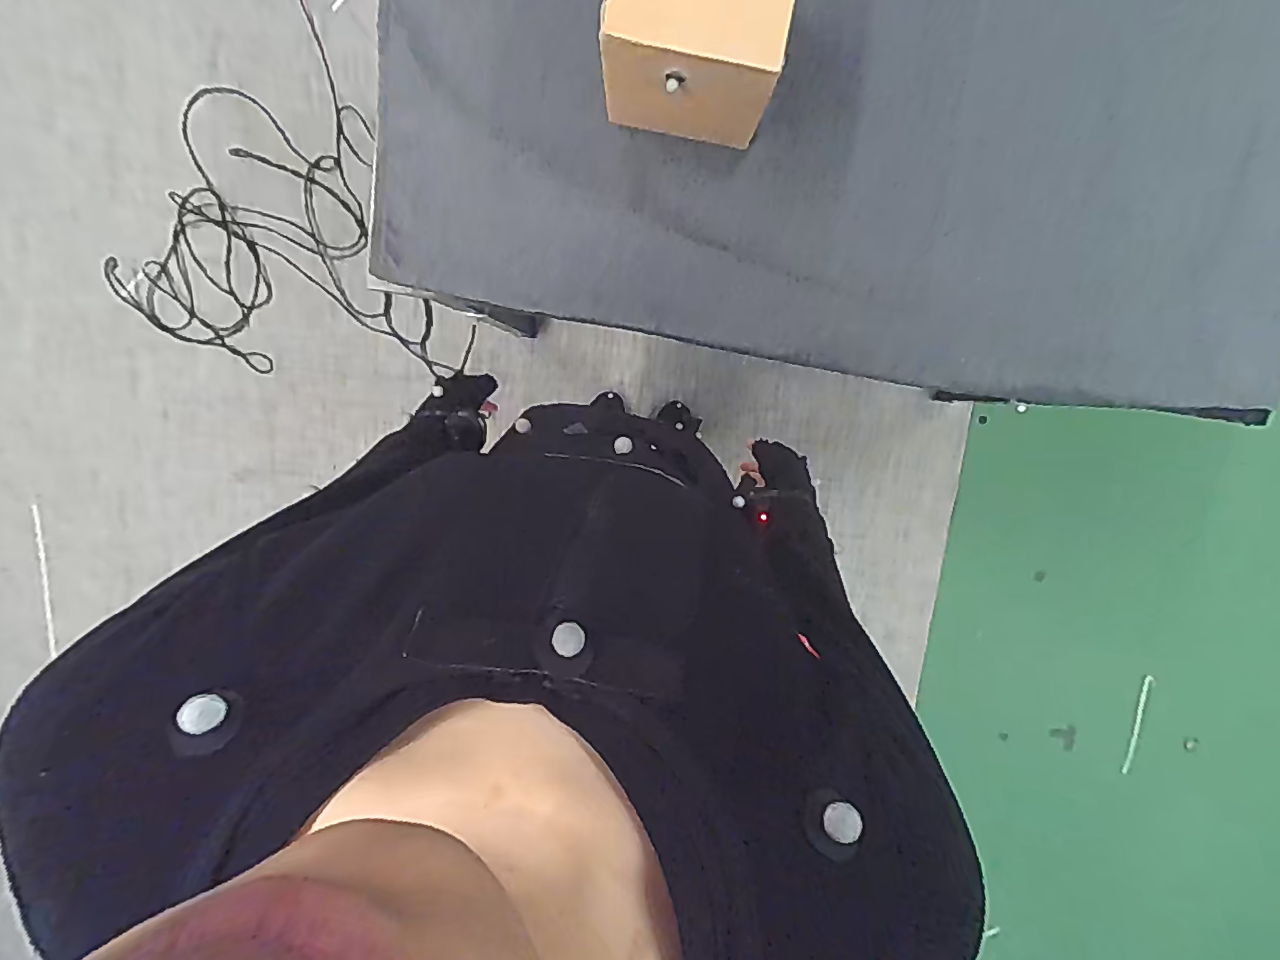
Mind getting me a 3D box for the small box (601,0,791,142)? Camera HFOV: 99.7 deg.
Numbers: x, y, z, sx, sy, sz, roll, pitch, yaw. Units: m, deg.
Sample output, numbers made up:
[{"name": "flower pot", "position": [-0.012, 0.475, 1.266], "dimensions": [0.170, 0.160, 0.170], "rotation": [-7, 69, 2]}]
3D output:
[{"name": "small box", "position": [0.061, -0.499, 0.583], "dimensions": [0.179, 0.176, 0.168], "rotation": [10, 99, -3]}]
